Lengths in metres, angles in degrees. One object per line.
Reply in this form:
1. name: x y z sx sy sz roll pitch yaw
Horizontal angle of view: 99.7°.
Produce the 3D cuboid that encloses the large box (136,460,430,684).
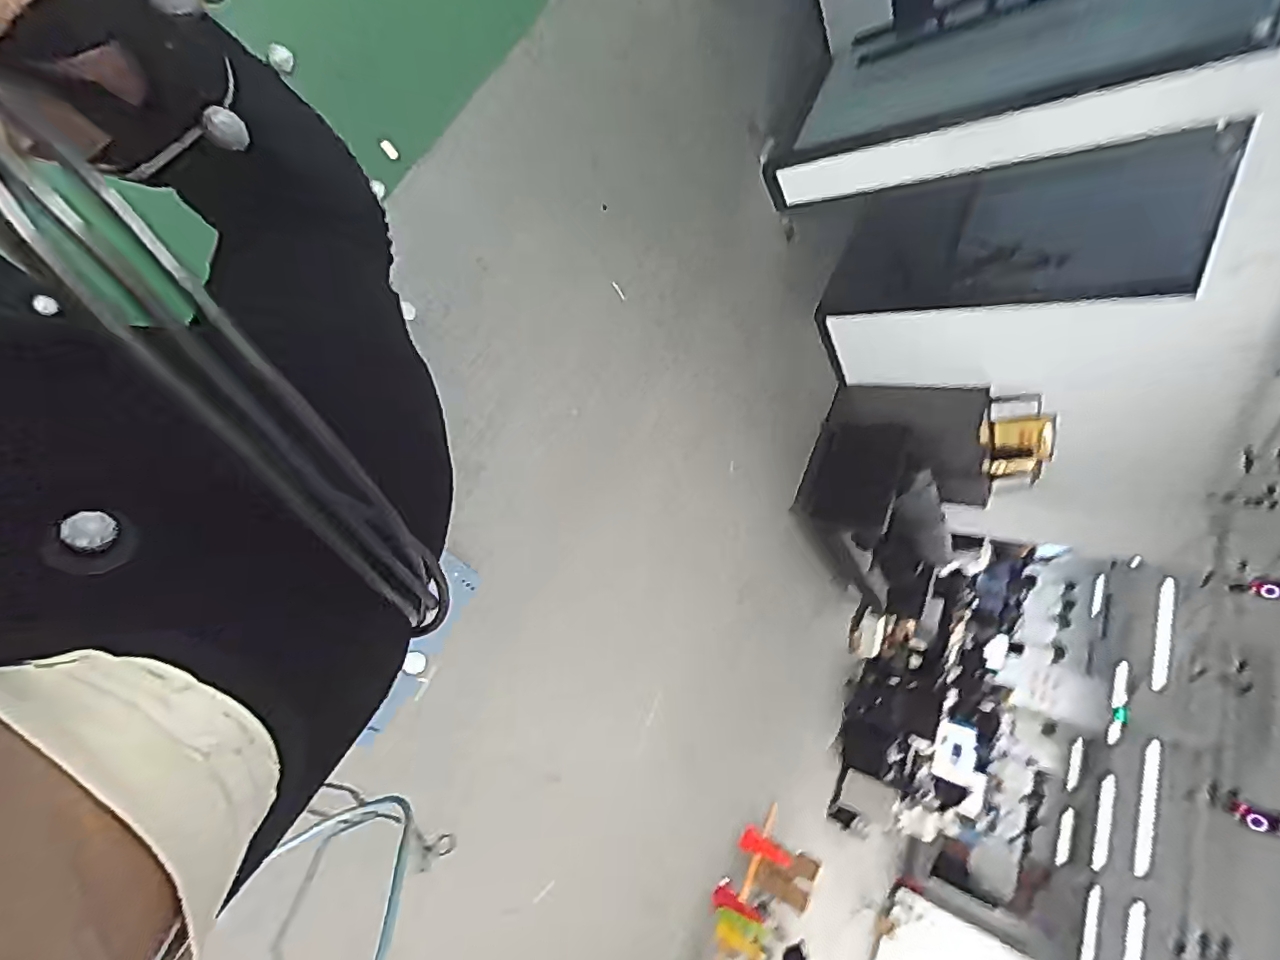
1. large box: -0.786 0.202 1.228 0.320 0.320 0.408 -59 138 -25
